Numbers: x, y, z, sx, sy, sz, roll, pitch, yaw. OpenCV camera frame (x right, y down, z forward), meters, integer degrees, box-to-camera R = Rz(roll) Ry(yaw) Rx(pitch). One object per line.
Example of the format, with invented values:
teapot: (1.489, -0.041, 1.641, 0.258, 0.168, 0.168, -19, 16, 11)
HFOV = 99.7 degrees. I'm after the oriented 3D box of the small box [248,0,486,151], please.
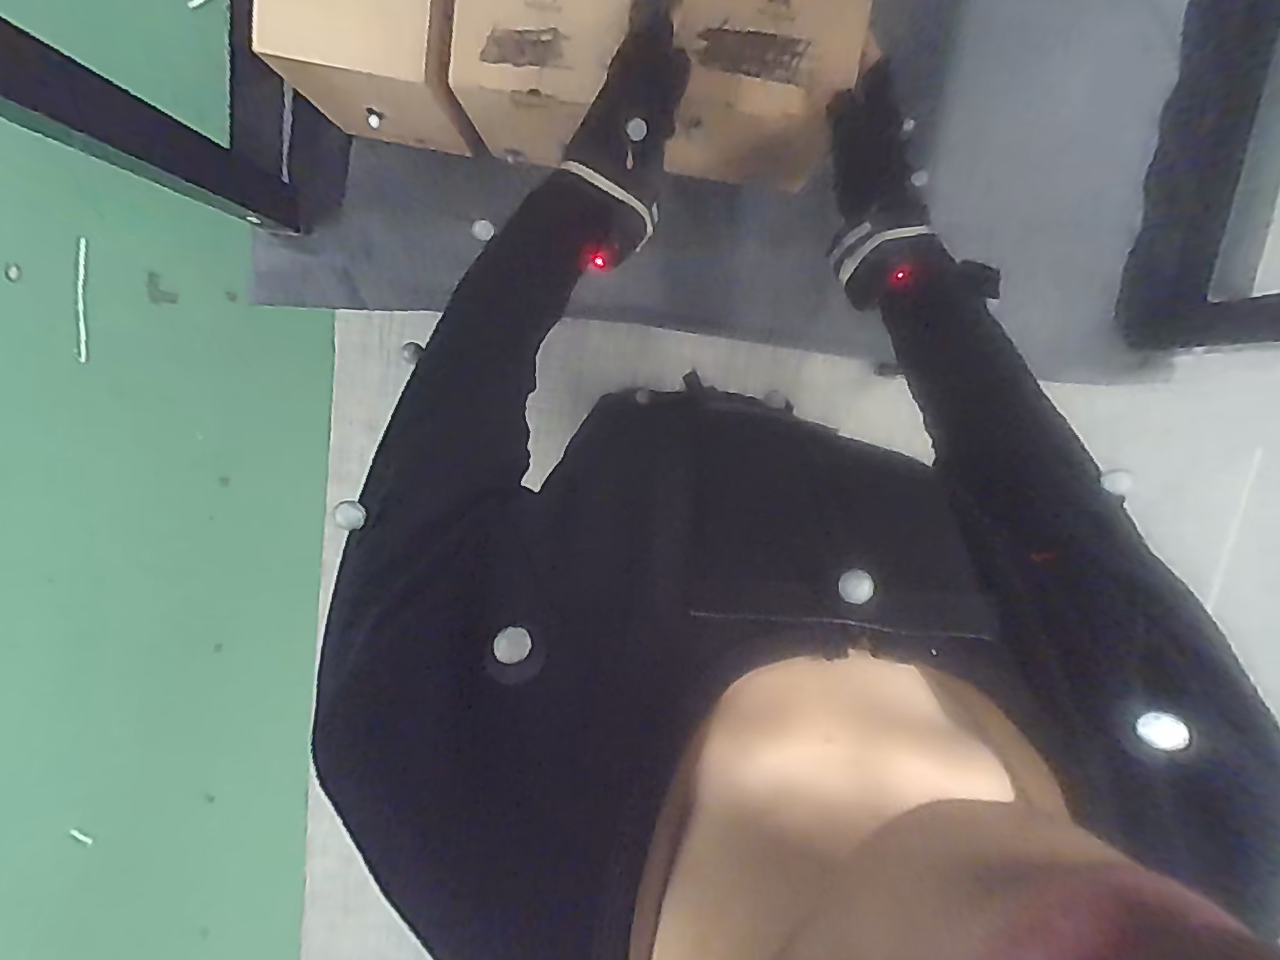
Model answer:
small box: (-0.272, -0.484, 0.573, 0.168, 0.176, 0.179, 10, 99, -3)
